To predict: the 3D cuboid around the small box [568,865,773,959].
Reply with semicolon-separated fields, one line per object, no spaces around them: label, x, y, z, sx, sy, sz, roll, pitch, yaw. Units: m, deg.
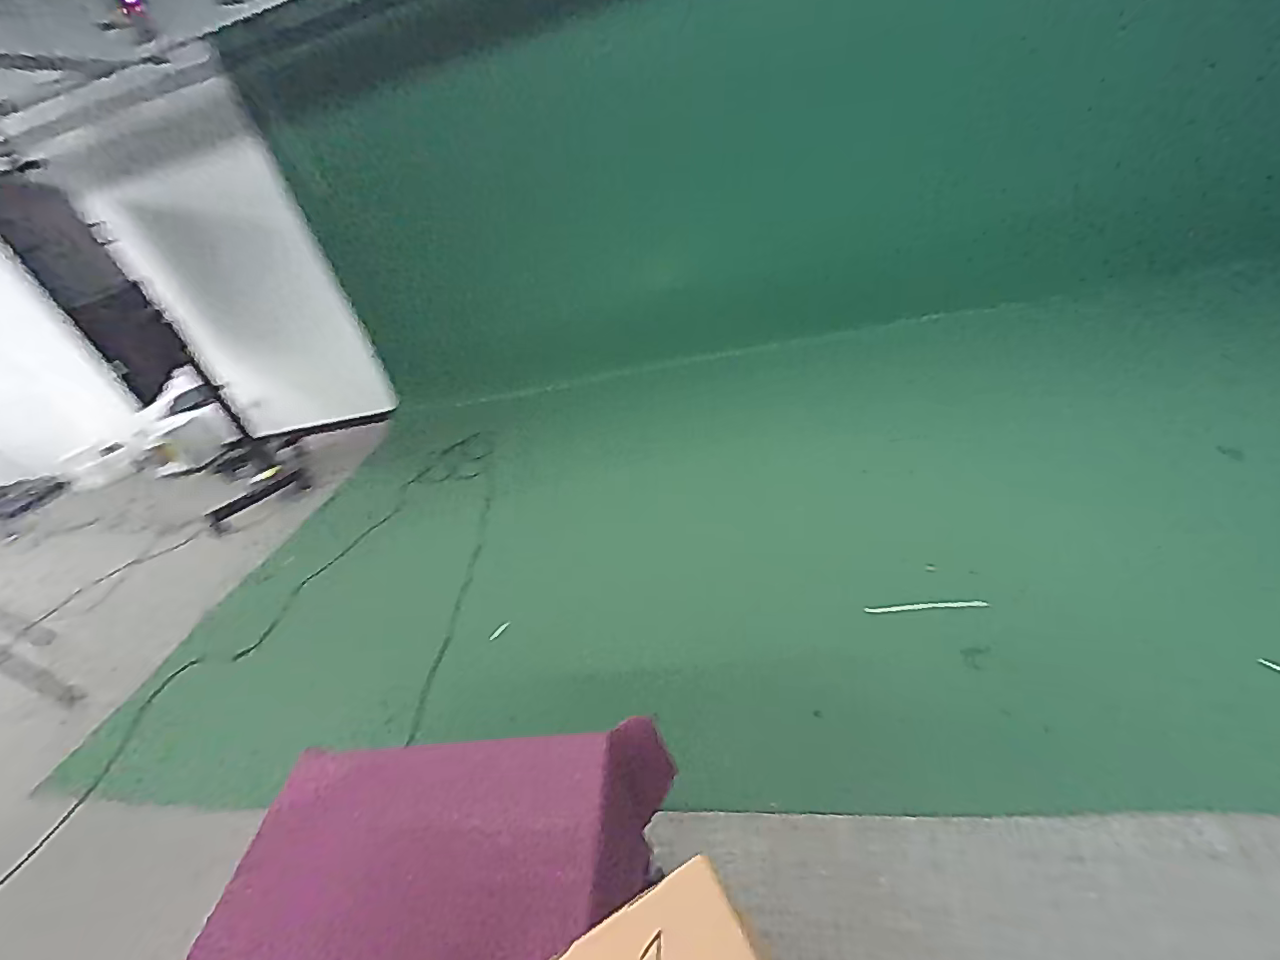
small box;0.037;0.395;0.328;0.168;0.176;0.179;-30;33;-9
